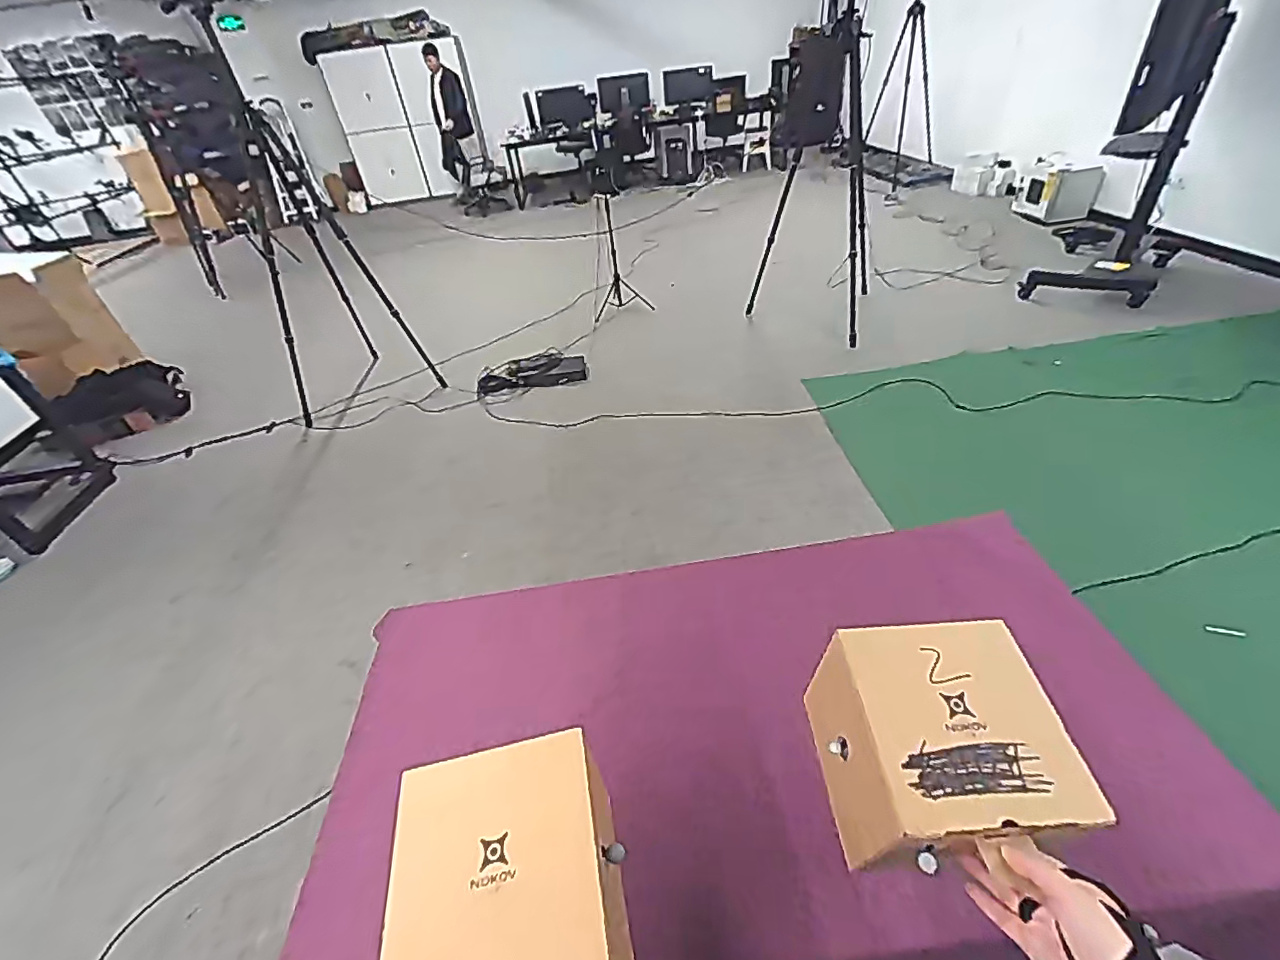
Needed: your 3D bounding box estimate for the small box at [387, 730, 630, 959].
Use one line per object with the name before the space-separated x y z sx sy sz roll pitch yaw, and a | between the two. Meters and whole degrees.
small box | -0.109 0.367 0.496 0.168 0.176 0.179 -12 42 -5
